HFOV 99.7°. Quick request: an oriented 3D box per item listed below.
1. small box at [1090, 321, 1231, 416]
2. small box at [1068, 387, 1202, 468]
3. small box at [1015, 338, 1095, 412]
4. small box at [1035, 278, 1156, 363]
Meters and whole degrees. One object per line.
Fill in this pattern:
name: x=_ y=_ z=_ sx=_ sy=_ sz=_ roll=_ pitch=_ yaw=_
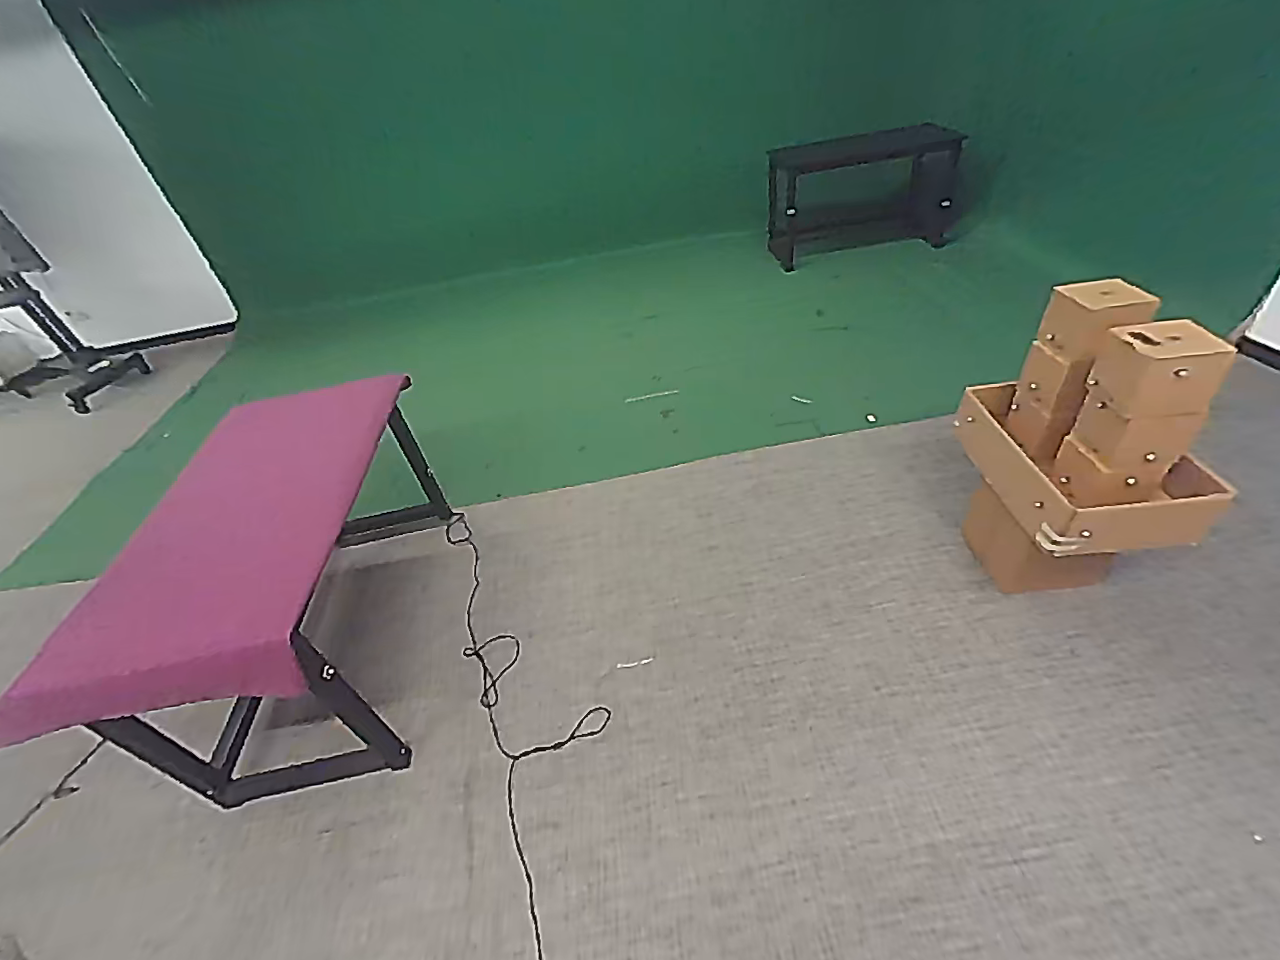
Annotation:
small box: x=1.261 y=-0.271 z=1.334 sx=0.179 sy=0.176 sz=0.168 roll=-5 pitch=42 yaw=7
small box: x=1.302 y=-0.150 z=1.440 sx=0.179 sy=0.176 sz=0.168 roll=-5 pitch=41 yaw=5
small box: x=1.287 y=-0.325 z=1.635 sx=0.179 sy=0.176 sz=0.168 roll=-8 pitch=41 yaw=2
small box: x=1.276 y=-0.451 z=1.531 sx=0.179 sy=0.176 sz=0.168 roll=-7 pitch=41 yaw=2
